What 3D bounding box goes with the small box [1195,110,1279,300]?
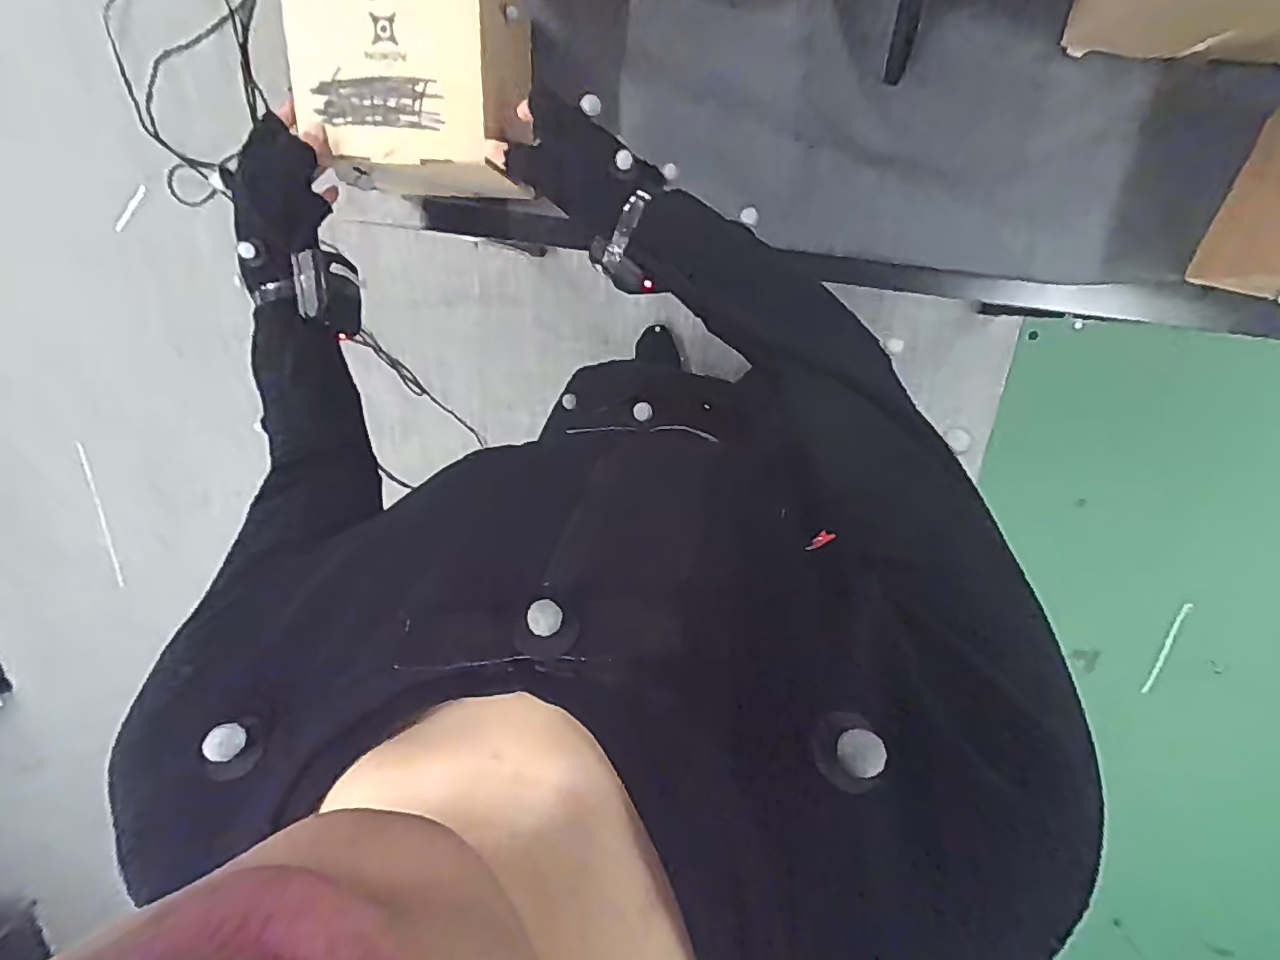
[{"bbox_3d":[0.705,-0.264,0.508,0.168,0.176,0.179,12,112,1],"label":"small box"}]
